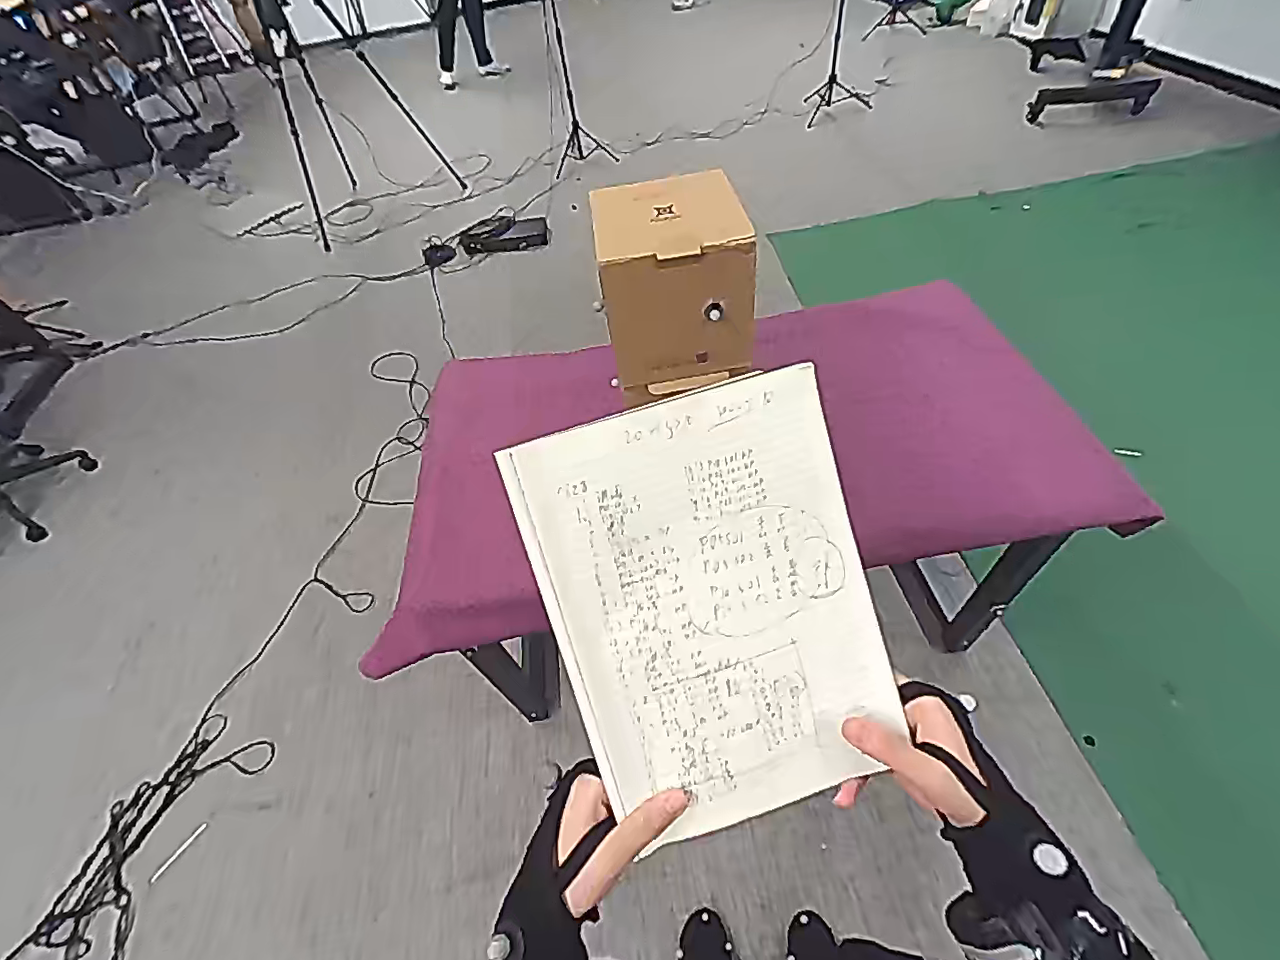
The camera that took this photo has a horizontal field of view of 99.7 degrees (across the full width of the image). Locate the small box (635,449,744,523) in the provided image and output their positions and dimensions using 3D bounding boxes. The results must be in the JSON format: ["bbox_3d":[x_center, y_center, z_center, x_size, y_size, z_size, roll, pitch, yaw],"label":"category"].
[{"bbox_3d":[0.078,-0.041,0.924,0.168,0.176,0.179,-9,51,1],"label":"small box"}]

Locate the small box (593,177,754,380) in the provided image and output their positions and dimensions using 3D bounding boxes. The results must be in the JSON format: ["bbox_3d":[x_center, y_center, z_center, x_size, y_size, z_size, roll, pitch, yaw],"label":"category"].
[{"bbox_3d":[0.040,-0.238,0.665,0.168,0.176,0.179,-8,50,1],"label":"small box"}]

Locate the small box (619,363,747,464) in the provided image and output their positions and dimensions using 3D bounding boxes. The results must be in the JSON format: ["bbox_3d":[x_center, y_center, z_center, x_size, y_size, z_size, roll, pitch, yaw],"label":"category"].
[{"bbox_3d":[0.059,-0.140,0.793,0.168,0.176,0.179,-9,49,1],"label":"small box"}]
